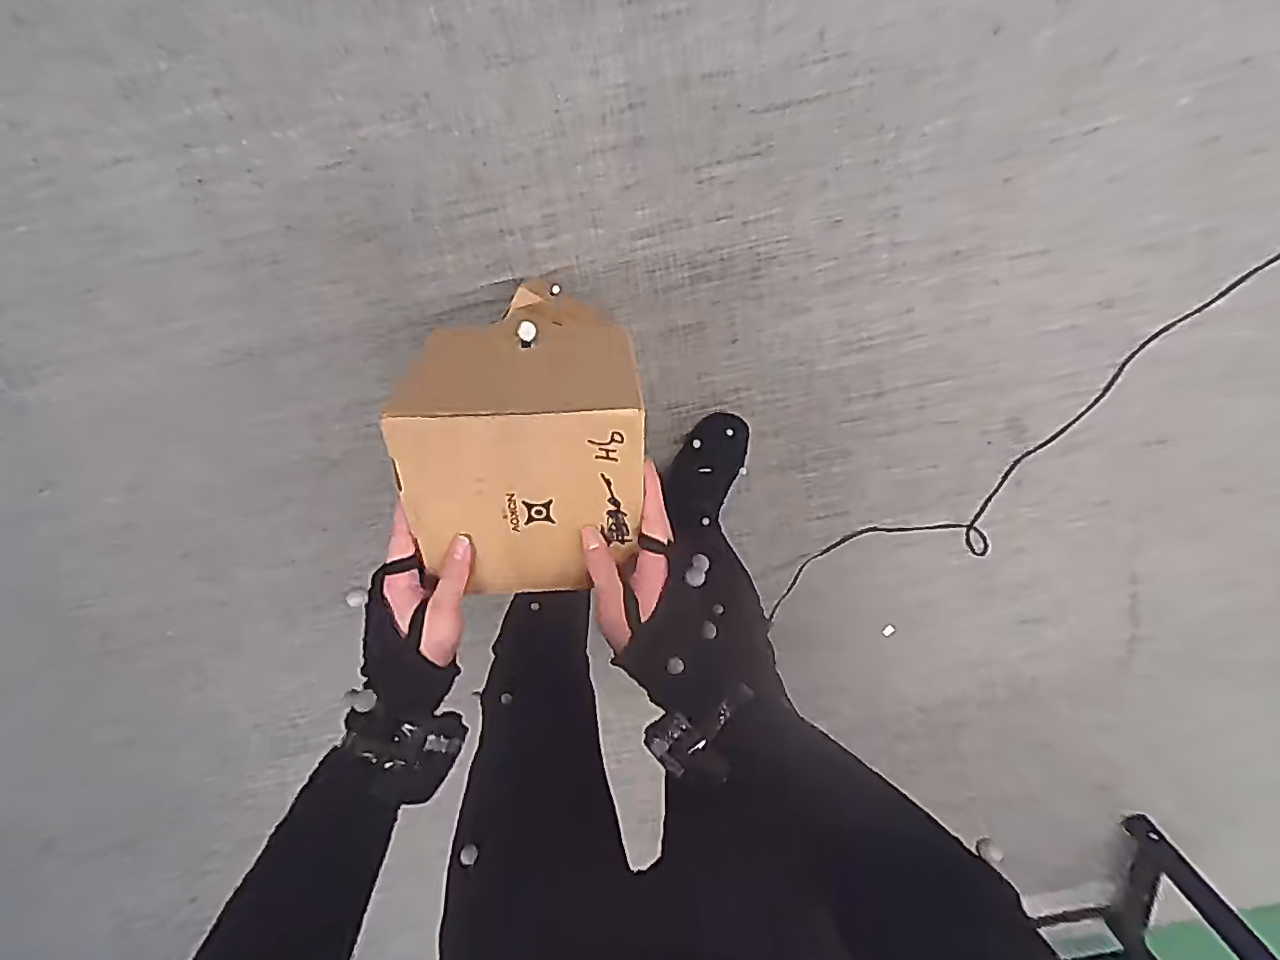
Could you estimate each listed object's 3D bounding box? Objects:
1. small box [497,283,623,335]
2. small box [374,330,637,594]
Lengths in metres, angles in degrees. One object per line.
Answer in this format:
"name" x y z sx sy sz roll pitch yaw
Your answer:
"small box" -0.139 -0.200 0.871 0.179 0.176 0.168 27 112 -14
"small box" -0.093 -0.022 0.466 0.179 0.176 0.168 -2 125 -3
